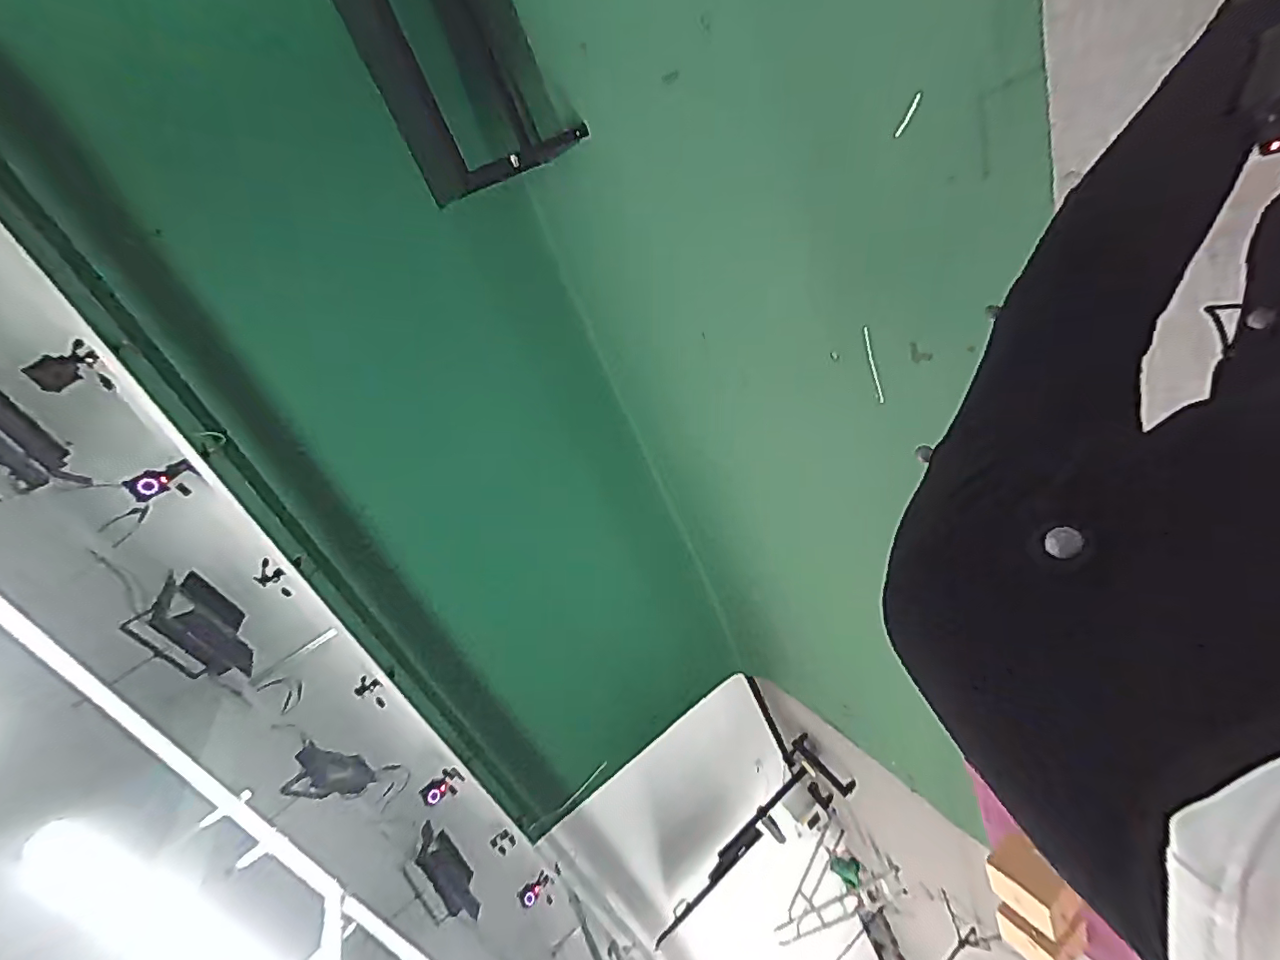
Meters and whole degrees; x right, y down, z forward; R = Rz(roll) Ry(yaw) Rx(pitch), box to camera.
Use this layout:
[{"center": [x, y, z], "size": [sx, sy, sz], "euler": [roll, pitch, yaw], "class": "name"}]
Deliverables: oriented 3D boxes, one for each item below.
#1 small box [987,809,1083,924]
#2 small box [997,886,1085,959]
[{"center": [1.141, 1.105, 1.557], "size": [0.168, 0.176, 0.179], "euler": [19, 140, 58], "class": "small box"}, {"center": [1.261, 1.350, 1.695], "size": [0.168, 0.176, 0.179], "euler": [22, 143, 57], "class": "small box"}]
